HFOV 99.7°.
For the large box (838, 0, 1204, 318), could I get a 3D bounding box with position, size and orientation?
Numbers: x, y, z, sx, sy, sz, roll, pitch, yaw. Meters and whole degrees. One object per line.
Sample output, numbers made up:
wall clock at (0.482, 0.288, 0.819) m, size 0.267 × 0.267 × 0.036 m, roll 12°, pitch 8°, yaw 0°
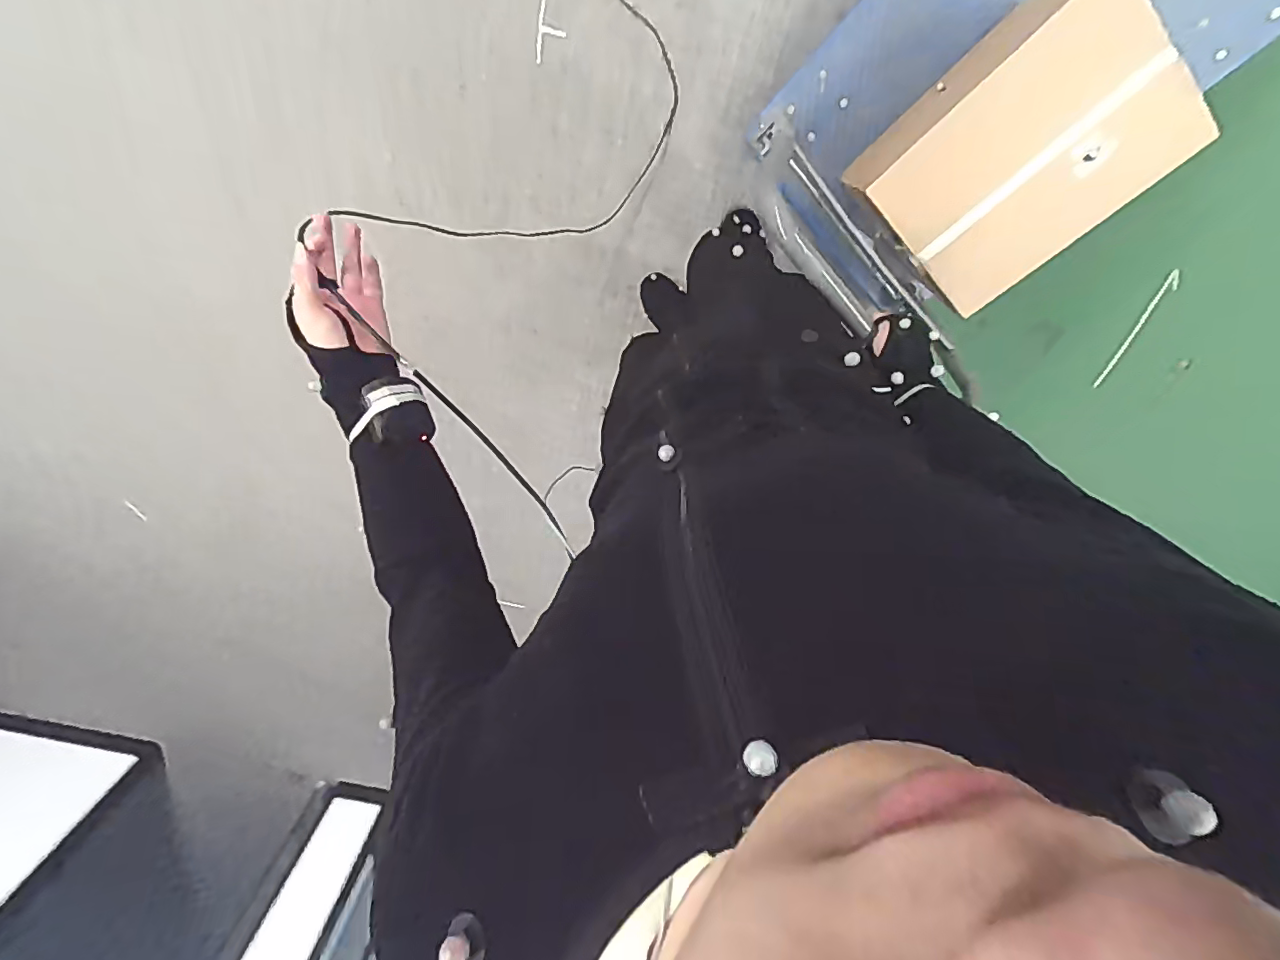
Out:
large box at (0.647, -0.584, 1.004) m, size 0.320 × 0.320 × 0.408 m, roll 42°, pitch 118°, yaw -17°
